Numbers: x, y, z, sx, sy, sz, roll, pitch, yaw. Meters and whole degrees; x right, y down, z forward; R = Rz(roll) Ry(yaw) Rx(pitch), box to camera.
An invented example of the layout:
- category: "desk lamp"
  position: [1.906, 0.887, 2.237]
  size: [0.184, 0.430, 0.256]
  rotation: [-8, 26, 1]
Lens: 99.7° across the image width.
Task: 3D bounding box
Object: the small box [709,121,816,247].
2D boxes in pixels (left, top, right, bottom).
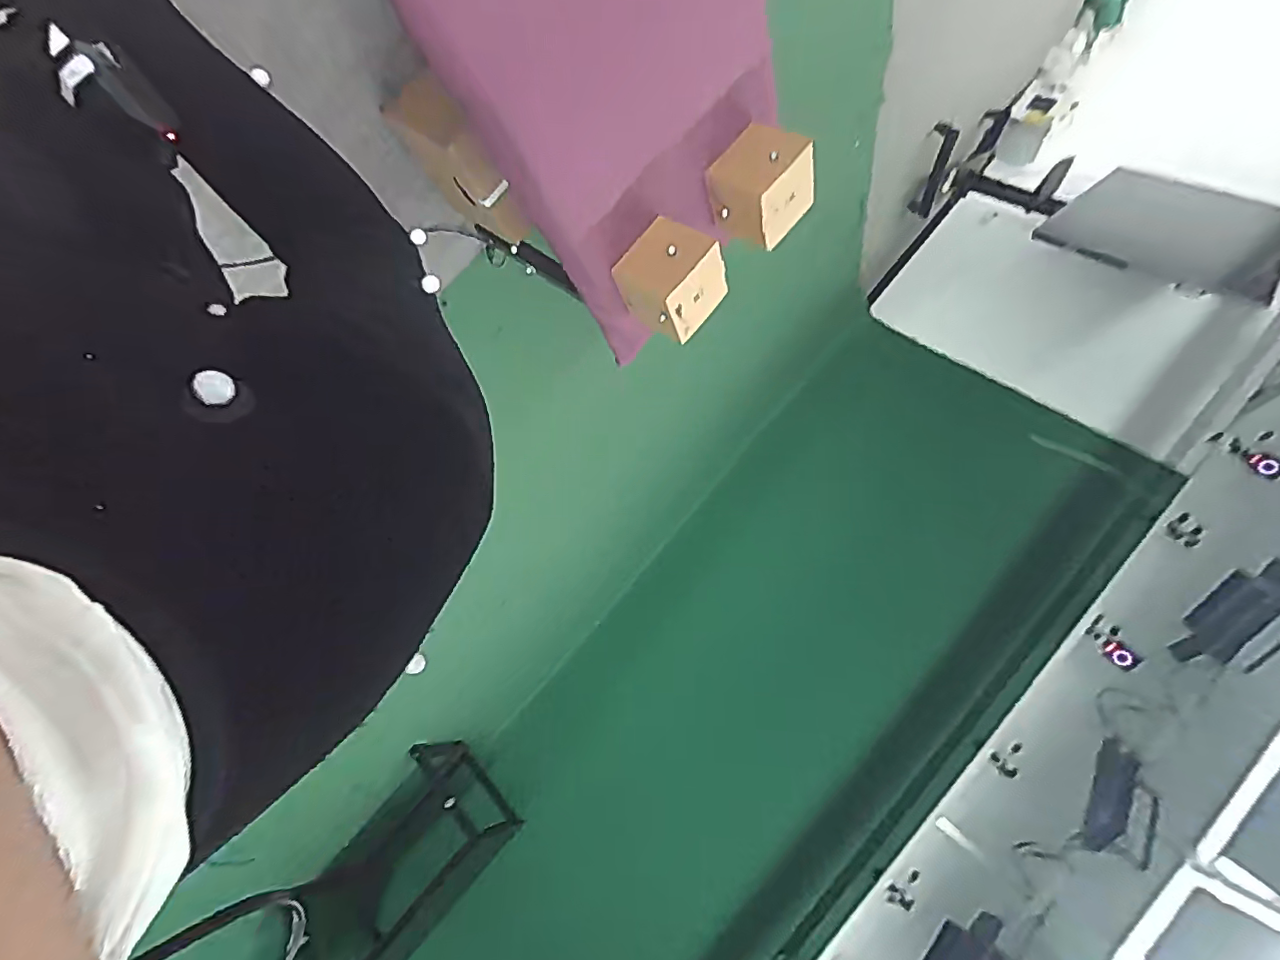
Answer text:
- category: "small box"
  position: [0.286, -0.690, 1.255]
  size: [0.179, 0.176, 0.168]
  rotation: [-48, 152, -4]

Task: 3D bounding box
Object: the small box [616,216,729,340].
- category: "small box"
  position: [0.075, -0.458, 1.220]
  size: [0.179, 0.176, 0.168]
  rotation: [-51, 153, -6]
